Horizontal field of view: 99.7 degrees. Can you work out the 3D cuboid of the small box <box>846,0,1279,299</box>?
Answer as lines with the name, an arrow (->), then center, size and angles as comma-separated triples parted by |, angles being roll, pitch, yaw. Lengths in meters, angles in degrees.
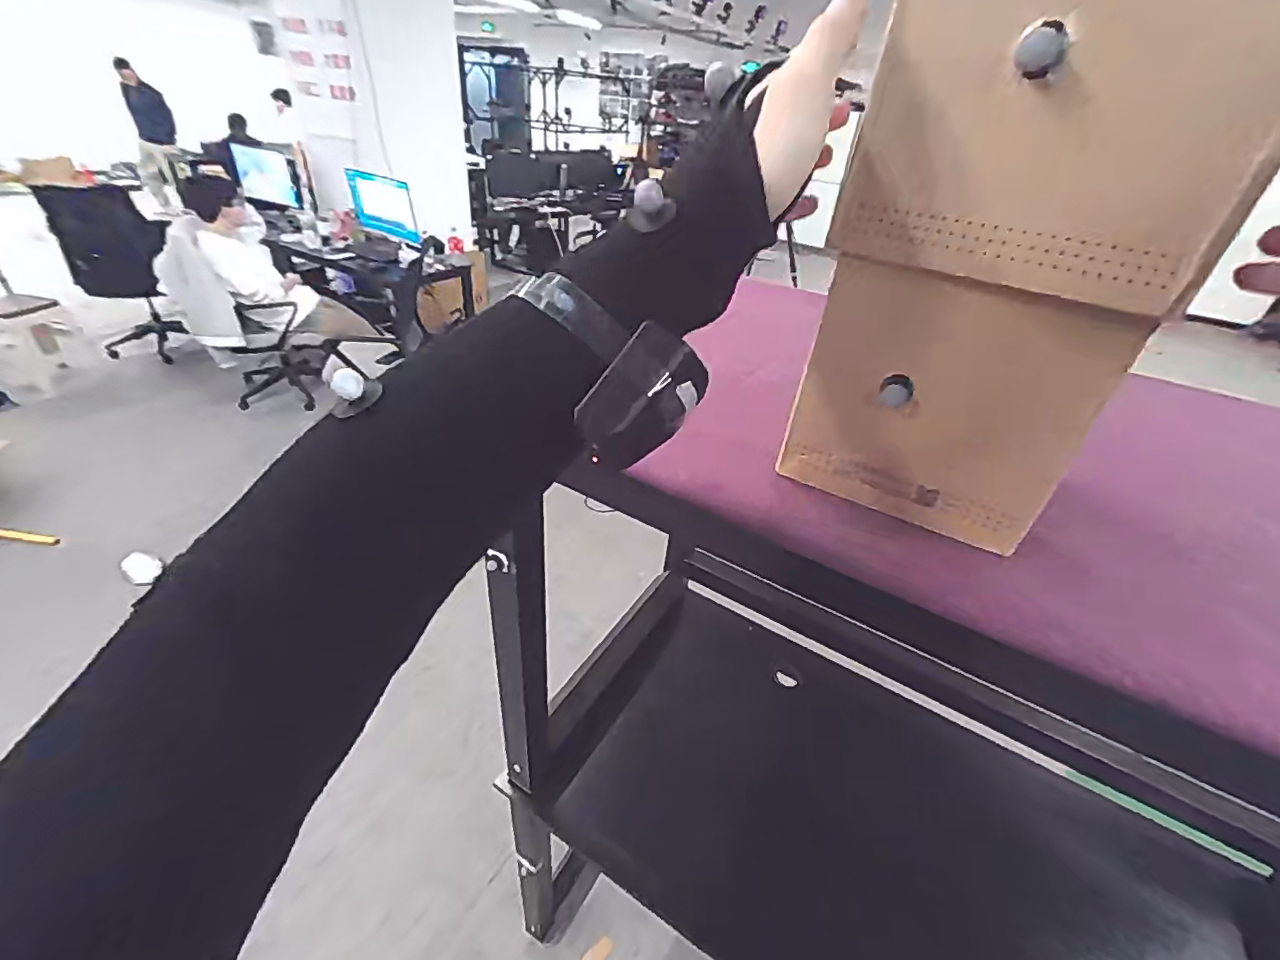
small box -> 0.232, -0.205, 0.279 | 0.179, 0.176, 0.168 | 27, 39, 25

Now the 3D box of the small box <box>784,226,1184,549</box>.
small box -> 0.218, -0.080, 0.385 | 0.168, 0.176, 0.179 | 25, 37, 22
